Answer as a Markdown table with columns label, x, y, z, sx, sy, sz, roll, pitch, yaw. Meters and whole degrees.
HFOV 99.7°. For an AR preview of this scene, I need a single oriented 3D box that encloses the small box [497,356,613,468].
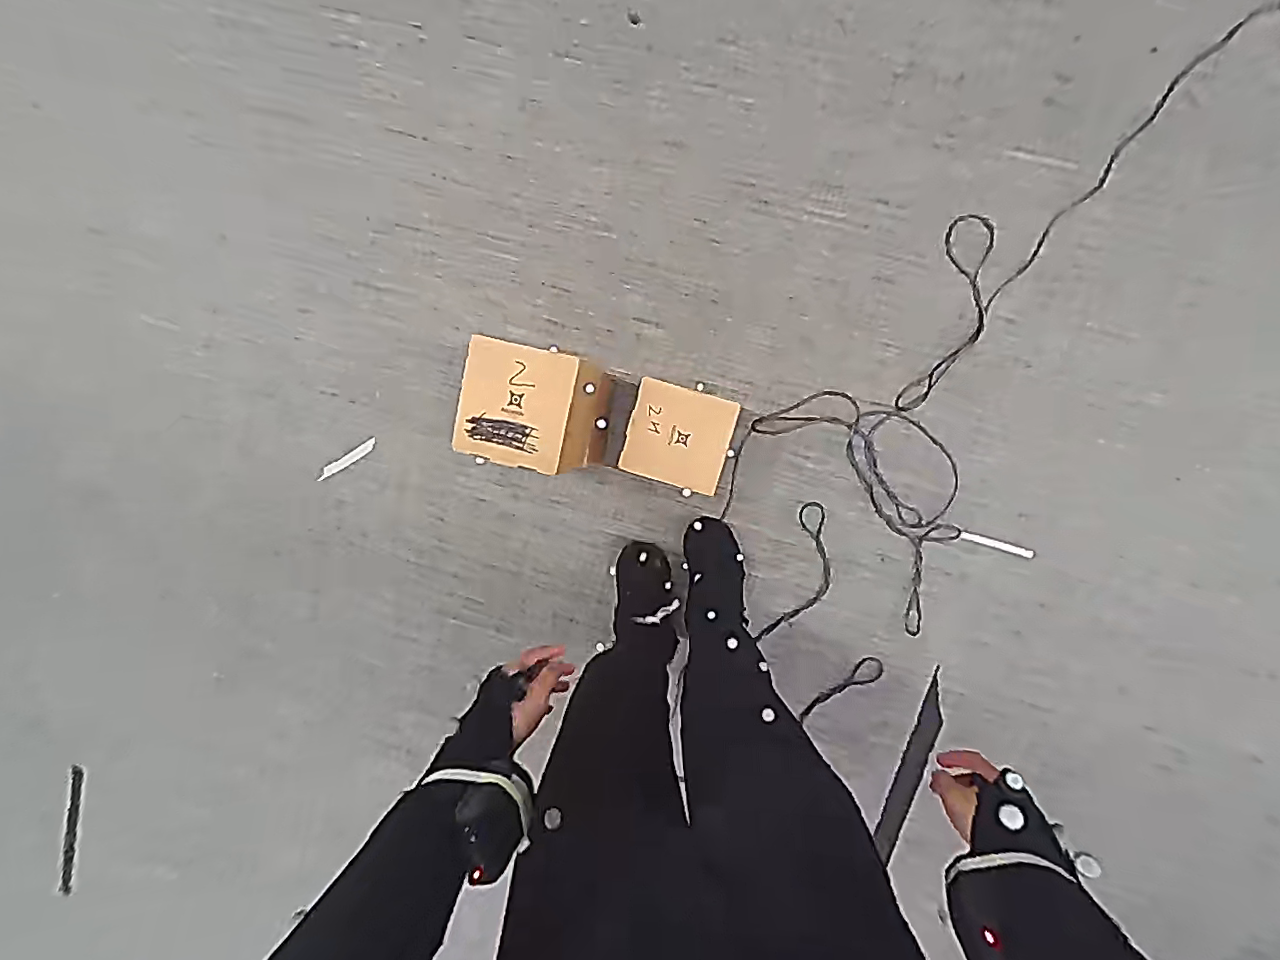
| label | x | y | z | sx | sy | sz | roll | pitch | yaw |
| --- | --- | --- | --- | --- | --- | --- | --- | --- | --- |
| small box | -0.151 | -0.125 | 1.013 | 0.168 | 0.176 | 0.179 | 9 | 97 | 6 |

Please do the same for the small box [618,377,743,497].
| label | x | y | z | sx | sy | sz | roll | pitch | yaw |
| --- | --- | --- | --- | --- | --- | --- | --- | --- | --- |
| small box | 0.076 | -0.080 | 0.985 | 0.179 | 0.176 | 0.168 | 17 | 97 | 6 |
